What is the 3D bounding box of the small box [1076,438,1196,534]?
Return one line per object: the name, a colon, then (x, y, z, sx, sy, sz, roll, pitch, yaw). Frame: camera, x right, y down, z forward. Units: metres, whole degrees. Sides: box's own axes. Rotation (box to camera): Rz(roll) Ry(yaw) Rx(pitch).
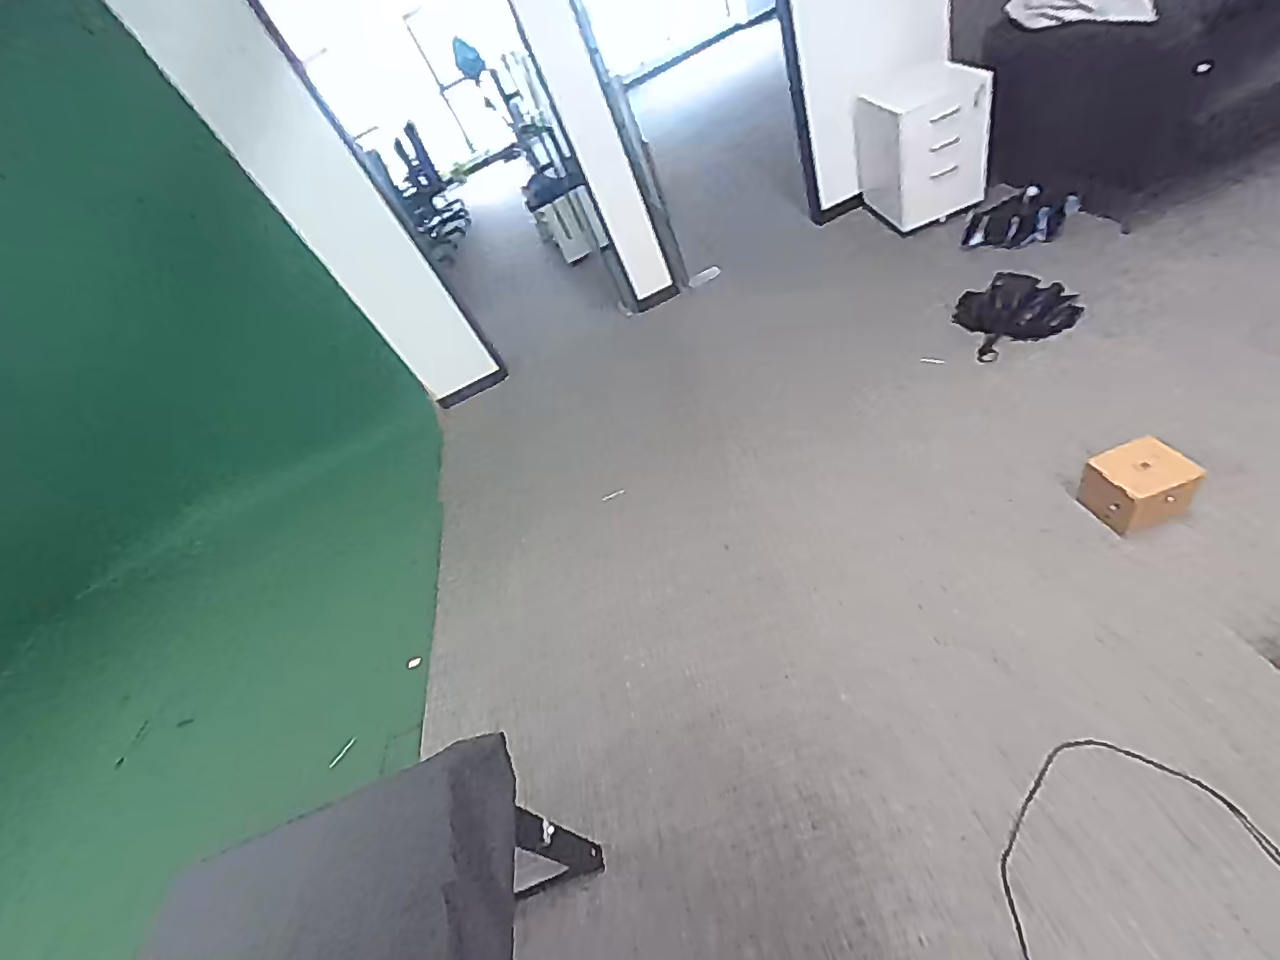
small box: (1.352, 0.021, 1.493, 0.179, 0.176, 0.168, -24, 42, 4)
